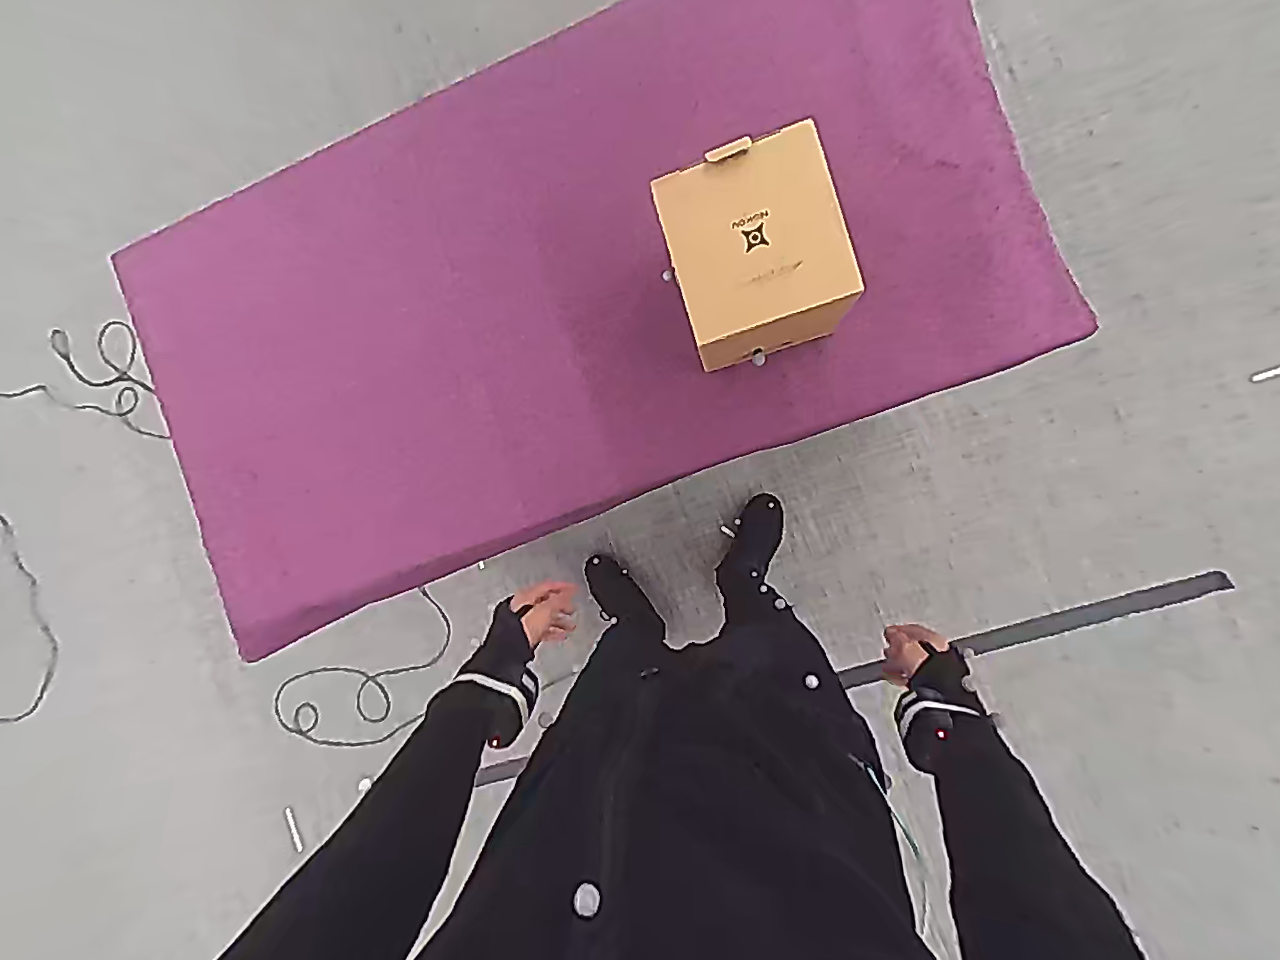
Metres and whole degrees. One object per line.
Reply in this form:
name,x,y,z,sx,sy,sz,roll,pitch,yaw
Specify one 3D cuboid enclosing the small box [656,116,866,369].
small box,0.125,-0.239,0.594,0.168,0.176,0.179,-15,89,10
